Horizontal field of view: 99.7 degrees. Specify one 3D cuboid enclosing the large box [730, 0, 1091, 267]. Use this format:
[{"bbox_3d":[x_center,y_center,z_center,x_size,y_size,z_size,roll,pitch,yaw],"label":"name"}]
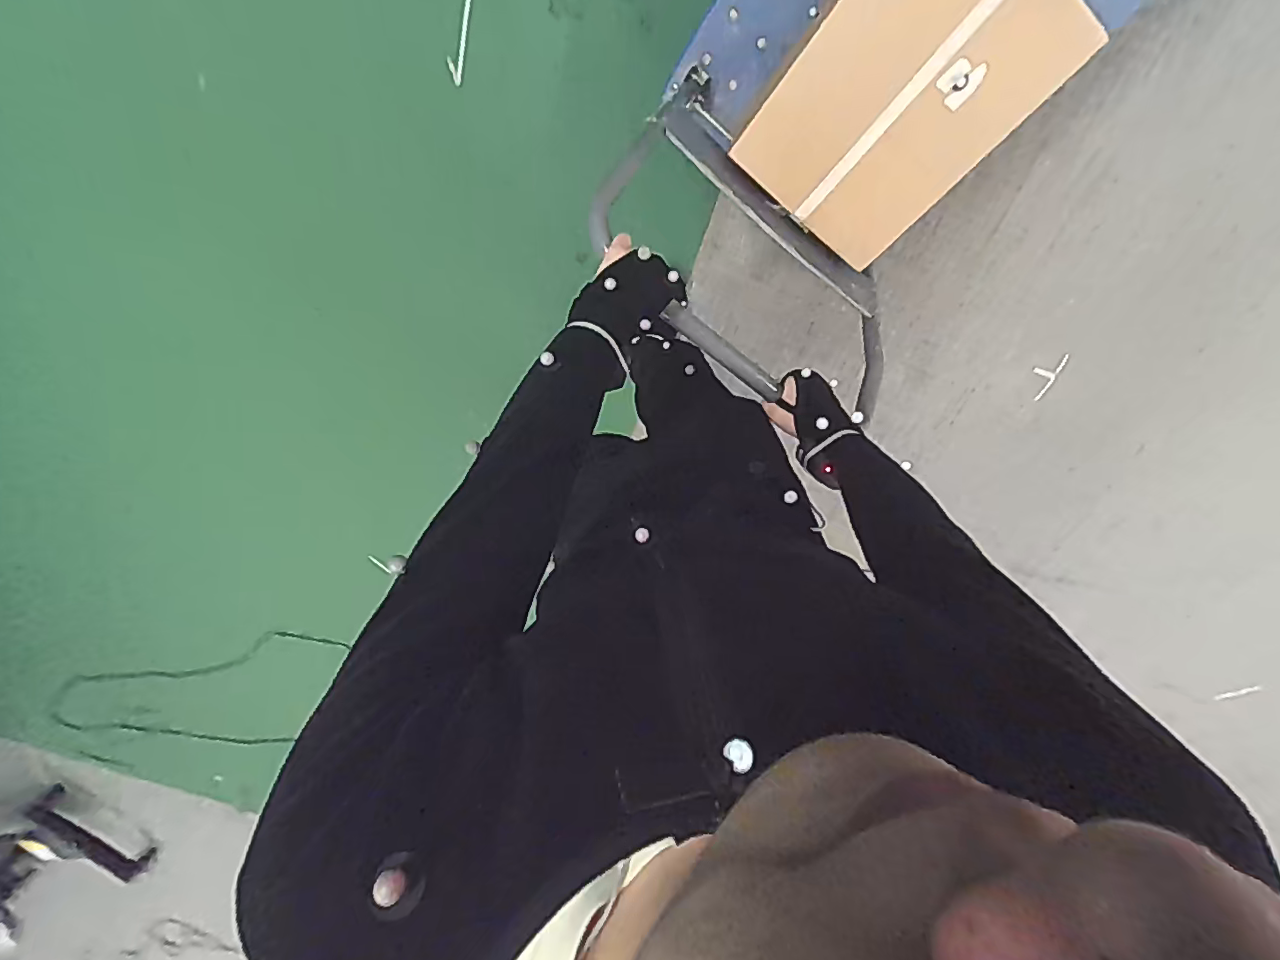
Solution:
[{"bbox_3d":[0.404,-0.662,0.916,0.320,0.320,0.408,33,131,-15],"label":"large box"}]
